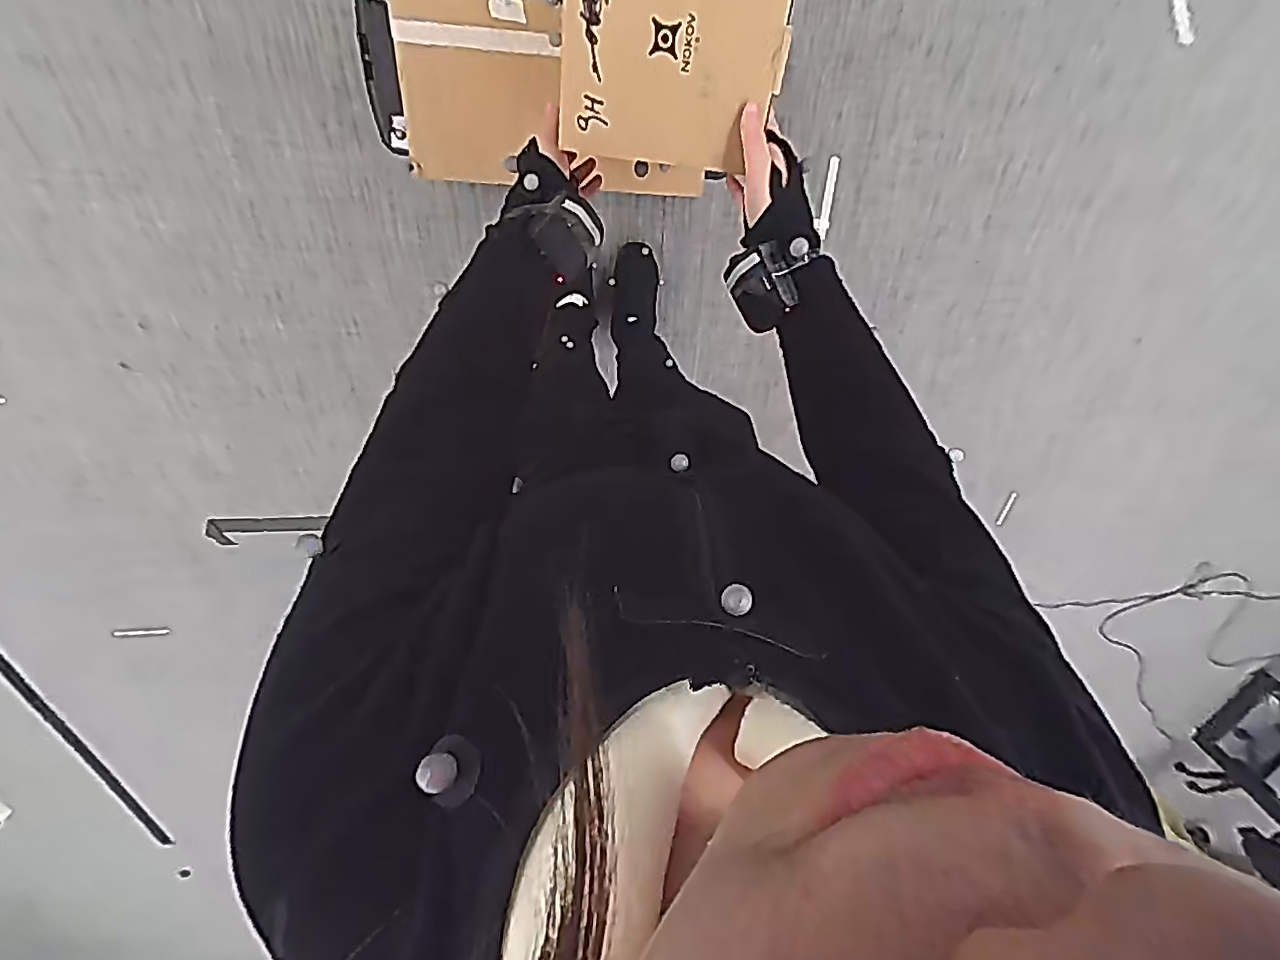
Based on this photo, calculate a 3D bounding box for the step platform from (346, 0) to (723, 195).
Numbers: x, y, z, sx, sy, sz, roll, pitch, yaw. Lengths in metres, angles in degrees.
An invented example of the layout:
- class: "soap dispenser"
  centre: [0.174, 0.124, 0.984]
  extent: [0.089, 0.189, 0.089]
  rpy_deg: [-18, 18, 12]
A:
- class: "step platform"
  centre: [-0.153, -0.735, 0.994]
  extent: [0.684, 0.204, 0.286]
  rpy_deg: [5, 122, -10]

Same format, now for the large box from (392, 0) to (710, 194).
- class: "large box"
  centre: [-0.107, -0.618, 0.790]
  extent: [0.408, 0.320, 0.320]
  rpy_deg: [0, 122, -7]

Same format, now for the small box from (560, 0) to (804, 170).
- class: "small box"
  centre: [0.023, -0.381, 0.472]
  extent: [0.179, 0.176, 0.168]
  rpy_deg: [2, 122, -10]
